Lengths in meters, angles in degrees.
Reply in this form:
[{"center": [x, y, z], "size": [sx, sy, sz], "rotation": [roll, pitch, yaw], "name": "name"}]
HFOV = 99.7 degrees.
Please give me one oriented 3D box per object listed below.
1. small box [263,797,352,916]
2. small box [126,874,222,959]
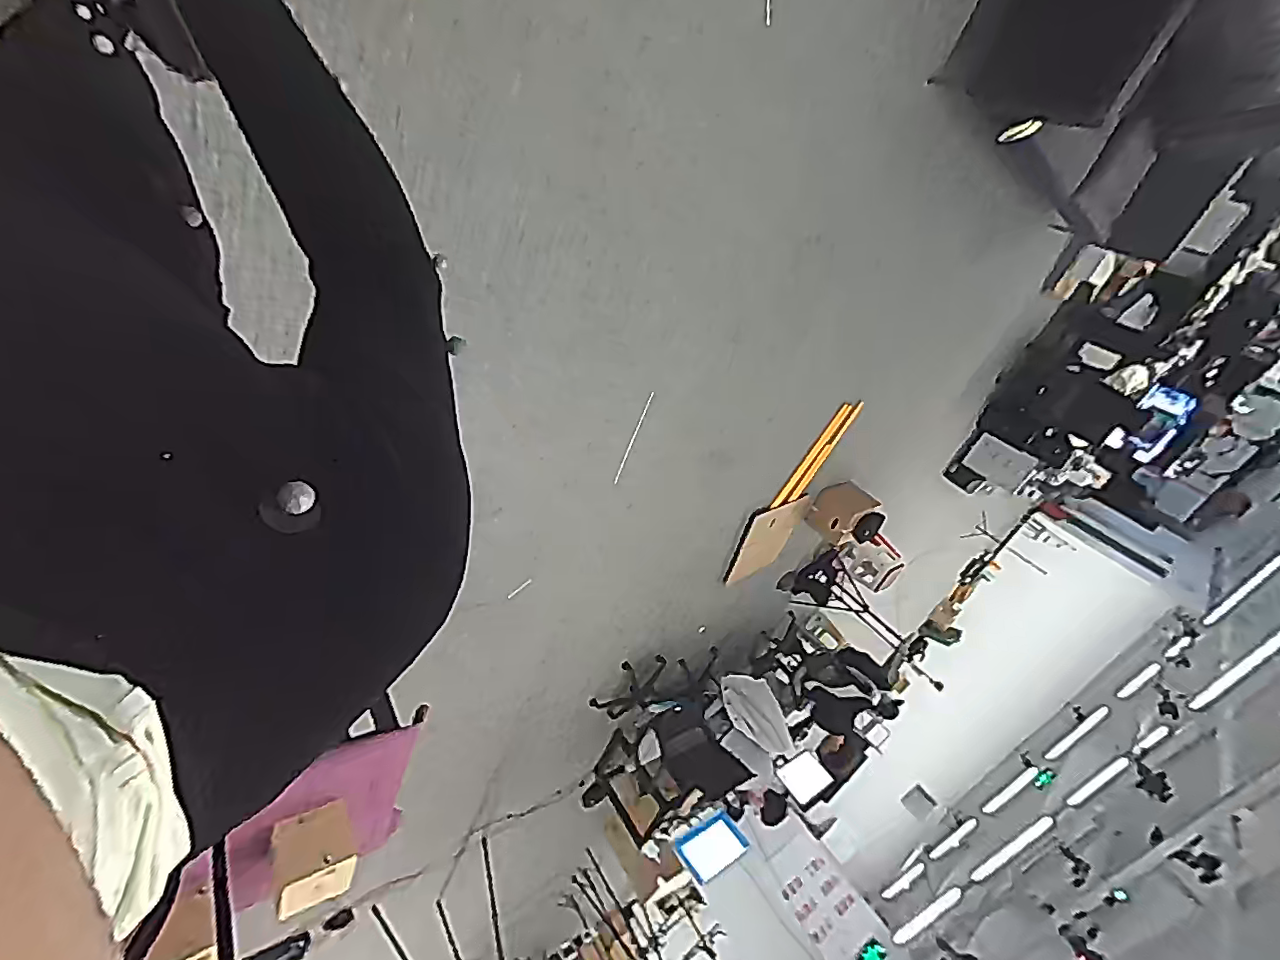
[{"center": [-0.884, 0.988, 1.431], "size": [0.168, 0.176, 0.179], "rotation": [-2, 126, -43], "name": "small box"}, {"center": [-1.128, 1.105, 1.309], "size": [0.168, 0.176, 0.179], "rotation": [-3, 128, -42], "name": "small box"}]
